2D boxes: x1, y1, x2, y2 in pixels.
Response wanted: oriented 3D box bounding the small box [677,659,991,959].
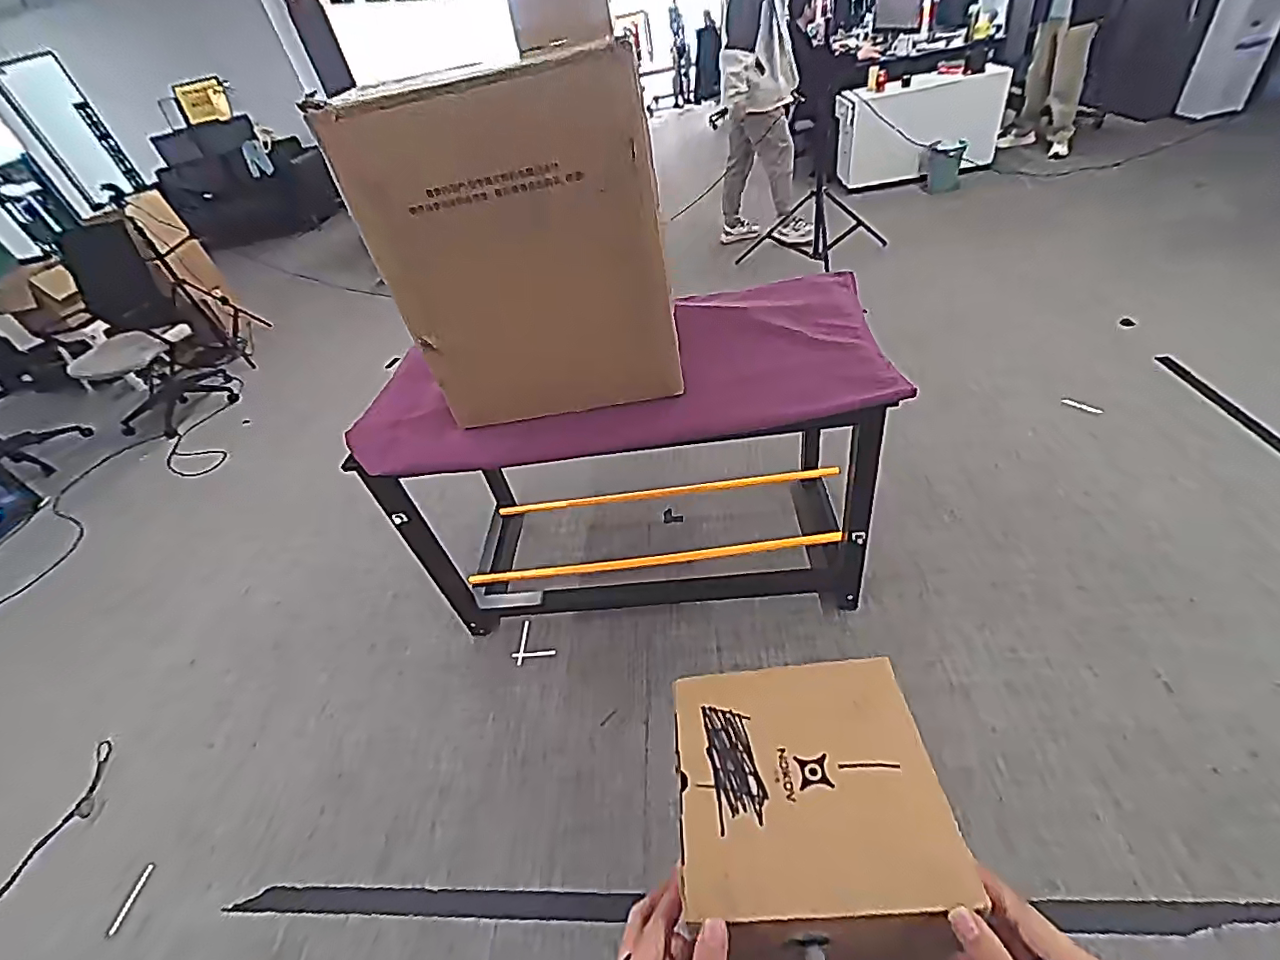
[{"bbox_3d":[0.131,0.268,0.423,0.179,0.176,0.168,-9,36,6],"label":"small box"}]
